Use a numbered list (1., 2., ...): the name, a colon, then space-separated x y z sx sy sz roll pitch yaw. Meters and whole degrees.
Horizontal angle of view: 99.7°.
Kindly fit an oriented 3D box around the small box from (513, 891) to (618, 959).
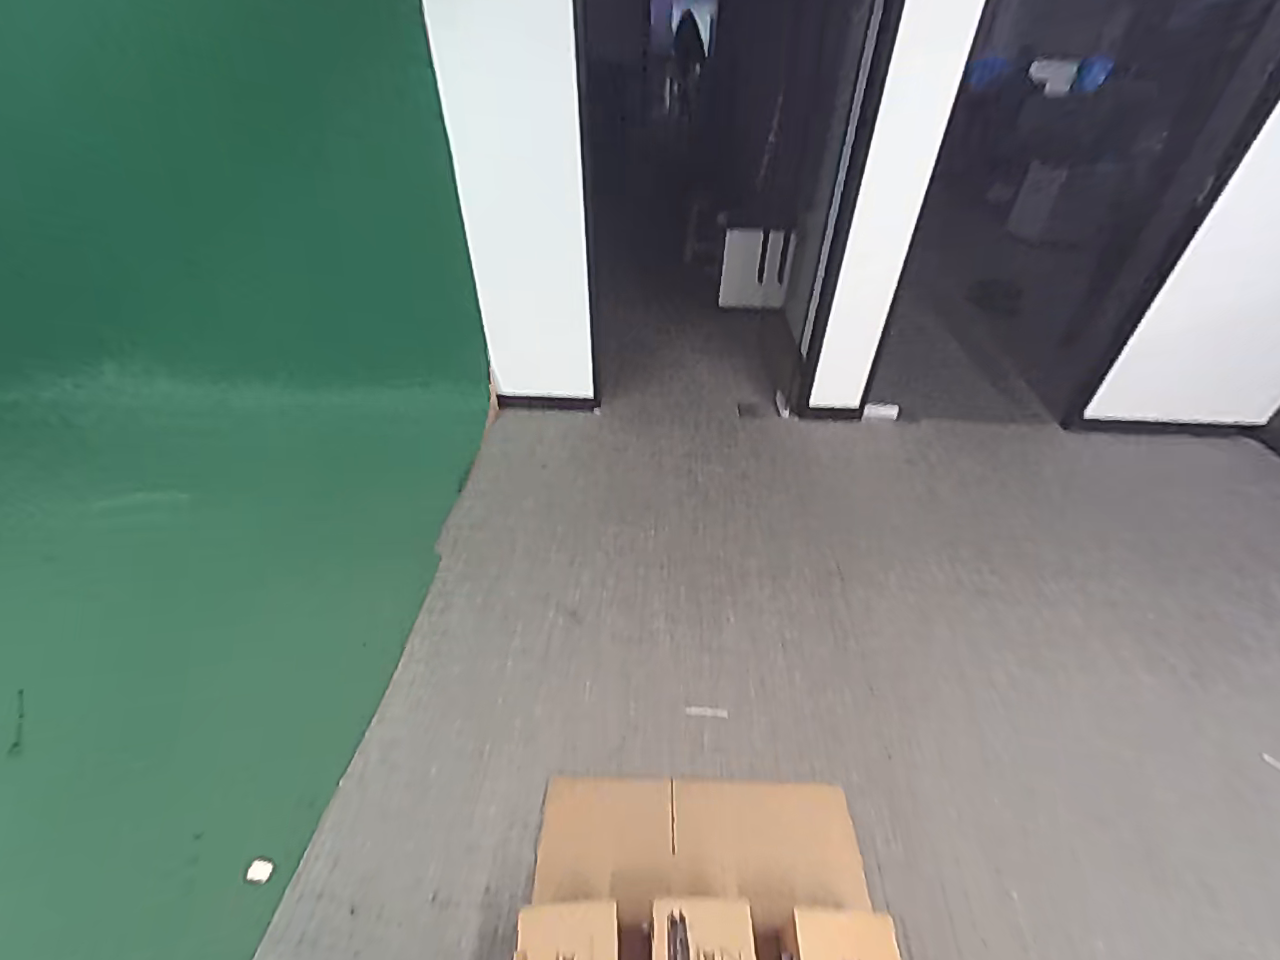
1. small box: -0.127 0.855 0.958 0.179 0.176 0.168 -1 41 -4

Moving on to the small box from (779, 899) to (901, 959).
1. small box: 0.348 0.866 0.951 0.179 0.176 0.168 3 40 2
